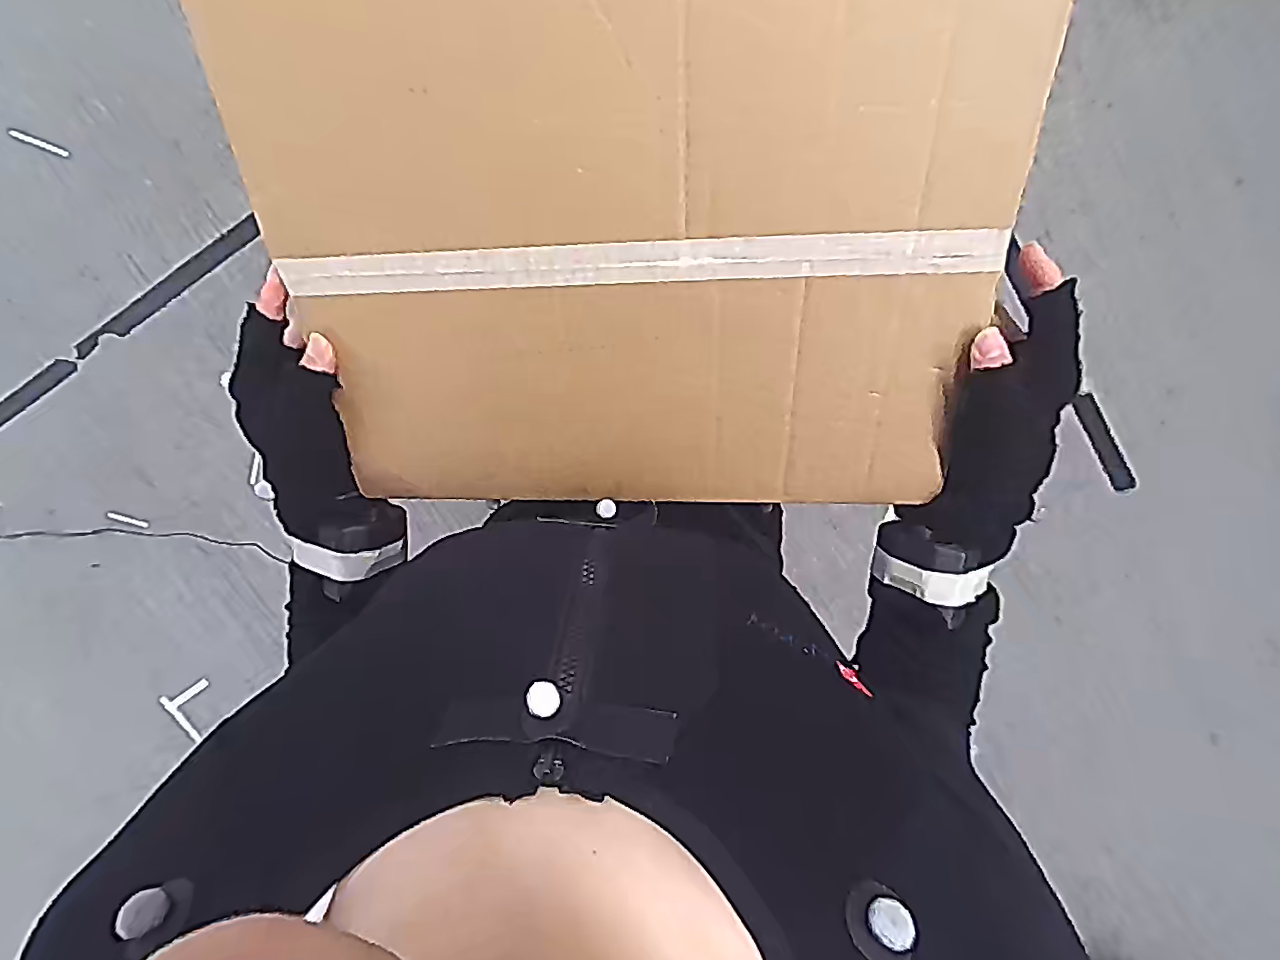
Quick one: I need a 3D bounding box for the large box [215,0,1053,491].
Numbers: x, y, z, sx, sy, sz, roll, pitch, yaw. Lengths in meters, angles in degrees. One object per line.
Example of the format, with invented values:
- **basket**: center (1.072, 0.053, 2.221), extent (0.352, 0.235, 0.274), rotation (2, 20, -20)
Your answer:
- **large box**: center (0.005, -0.201, 0.439), extent (0.408, 0.320, 0.320), rotation (0, 121, 6)
